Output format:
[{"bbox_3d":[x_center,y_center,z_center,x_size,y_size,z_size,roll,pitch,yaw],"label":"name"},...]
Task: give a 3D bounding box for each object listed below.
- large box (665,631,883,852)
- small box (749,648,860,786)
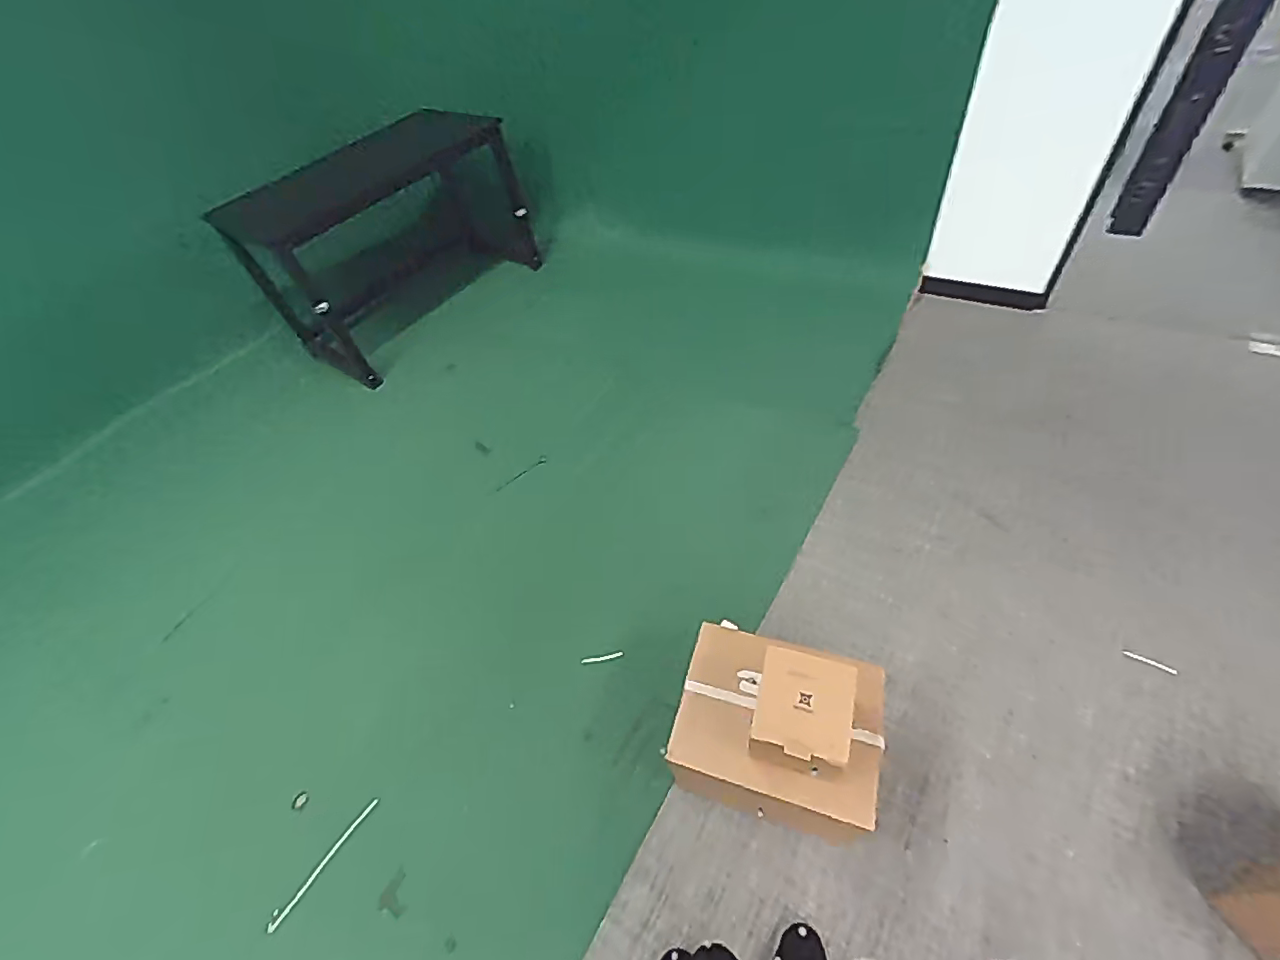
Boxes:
[{"bbox_3d":[0.307,0.588,1.224,0.408,0.320,0.320,9,52,19],"label":"large box"},{"bbox_3d":[0.306,0.449,1.017,0.168,0.176,0.179,11,54,19],"label":"small box"}]
